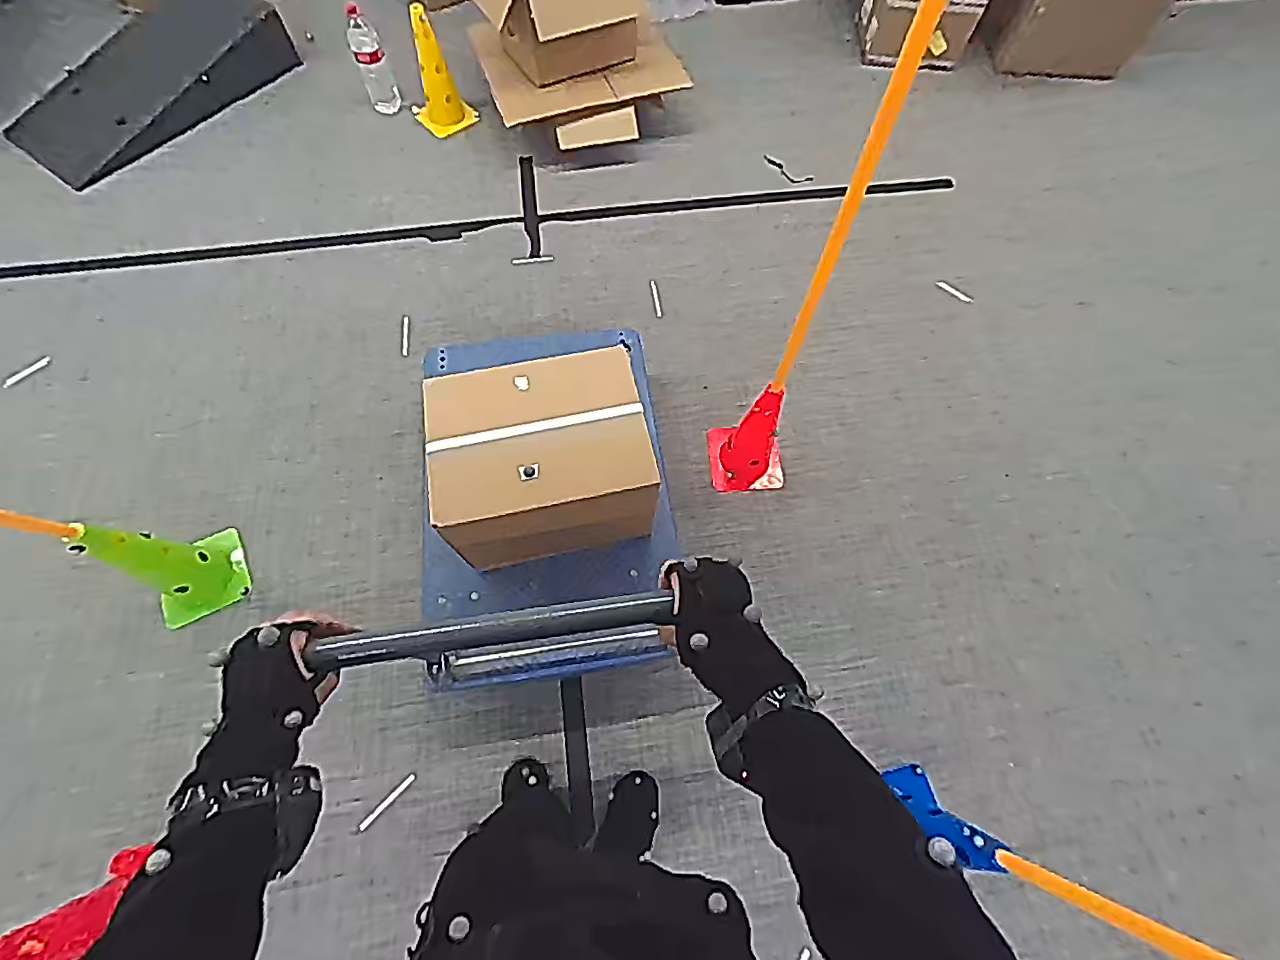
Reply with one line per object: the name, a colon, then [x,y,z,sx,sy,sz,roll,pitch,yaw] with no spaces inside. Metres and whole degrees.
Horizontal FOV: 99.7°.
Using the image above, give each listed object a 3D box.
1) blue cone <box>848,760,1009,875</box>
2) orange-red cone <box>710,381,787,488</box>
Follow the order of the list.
blue cone: [0.574,0.666,1.031,0.193,0.380,0.192,-11,65,-7]
orange-red cone: [0.307,-0.137,1.370,0.199,0.360,0.198,-1,66,-4]
